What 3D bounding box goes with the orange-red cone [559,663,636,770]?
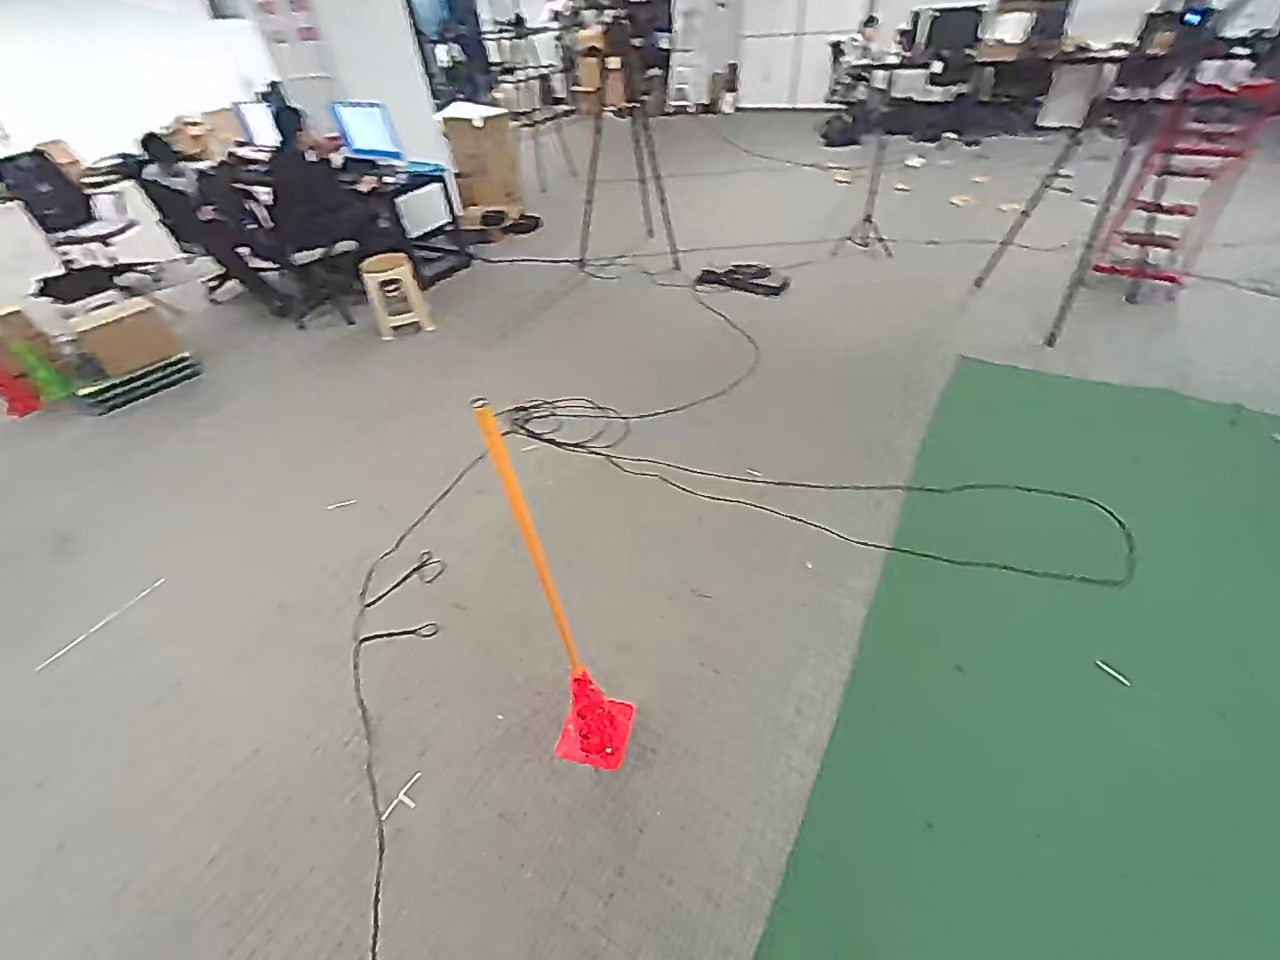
[{"bbox_3d":[-0.137,0.616,1.503,0.198,0.360,0.199,8,43,15],"label":"orange-red cone"}]
